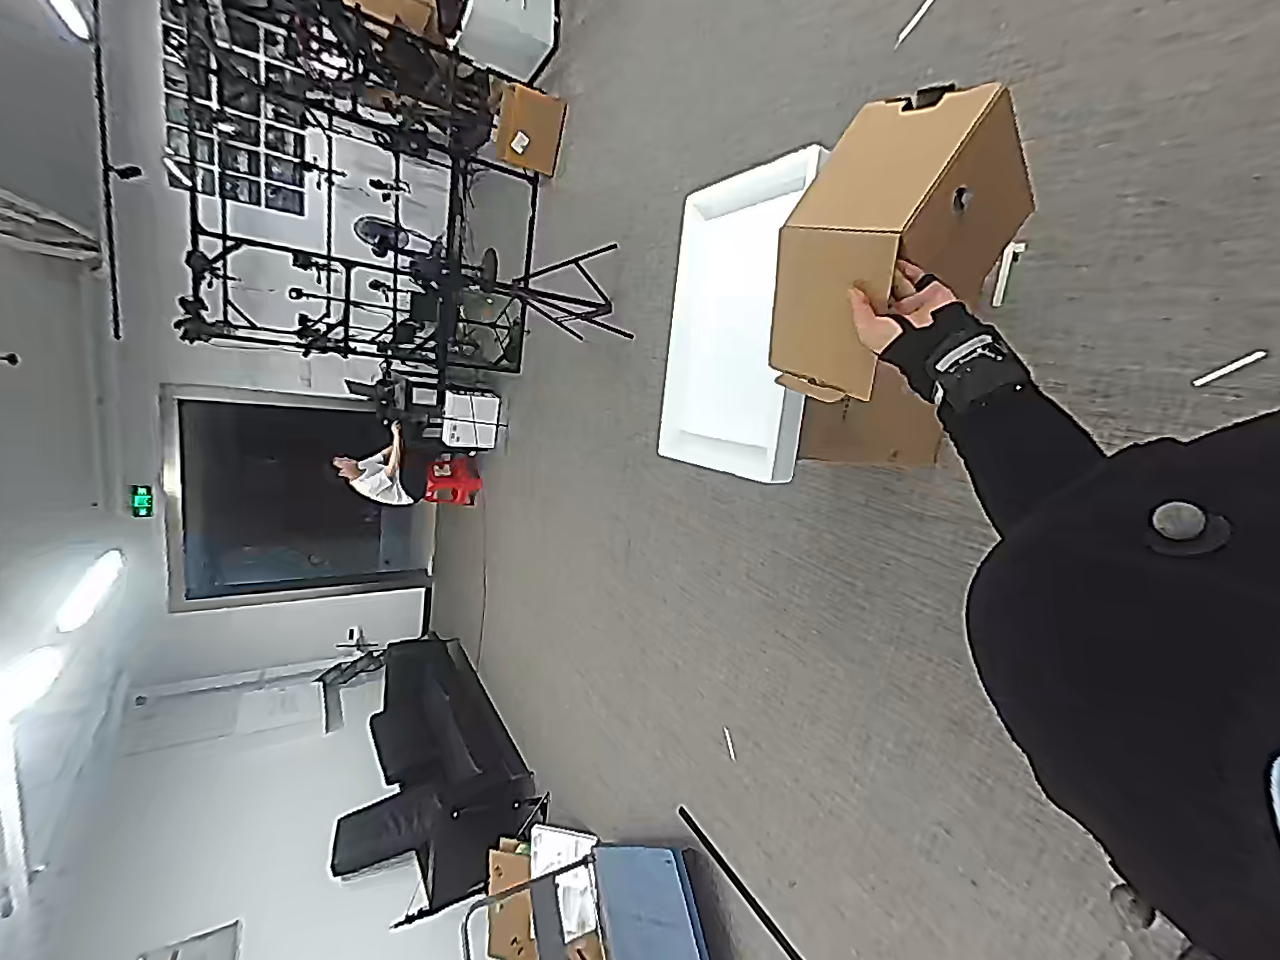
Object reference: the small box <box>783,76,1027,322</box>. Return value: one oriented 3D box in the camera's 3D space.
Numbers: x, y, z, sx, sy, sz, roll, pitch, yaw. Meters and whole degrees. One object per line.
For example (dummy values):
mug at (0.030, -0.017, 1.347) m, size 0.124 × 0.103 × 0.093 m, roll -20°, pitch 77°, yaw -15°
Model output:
small box at (0.310, -0.311, 0.628) m, size 0.179 × 0.176 × 0.168 m, roll -55°, pitch 40°, yaw 3°
